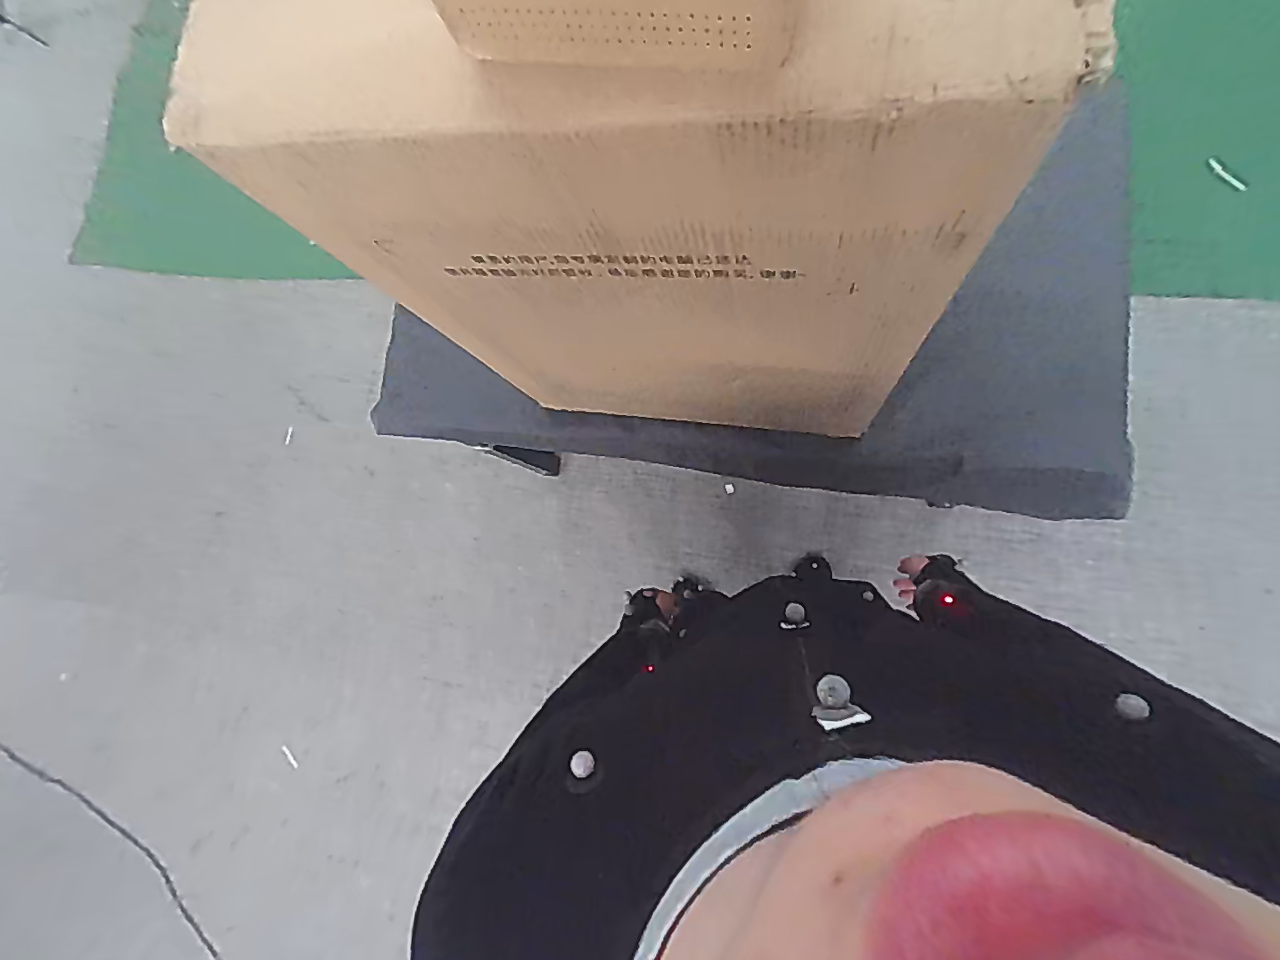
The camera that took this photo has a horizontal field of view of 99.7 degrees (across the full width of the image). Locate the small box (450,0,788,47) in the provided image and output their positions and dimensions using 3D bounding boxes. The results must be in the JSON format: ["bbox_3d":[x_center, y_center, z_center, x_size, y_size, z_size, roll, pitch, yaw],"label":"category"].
[{"bbox_3d":[-0.016,-0.309,0.203,0.179,0.176,0.168,14,86,14],"label":"small box"}]
